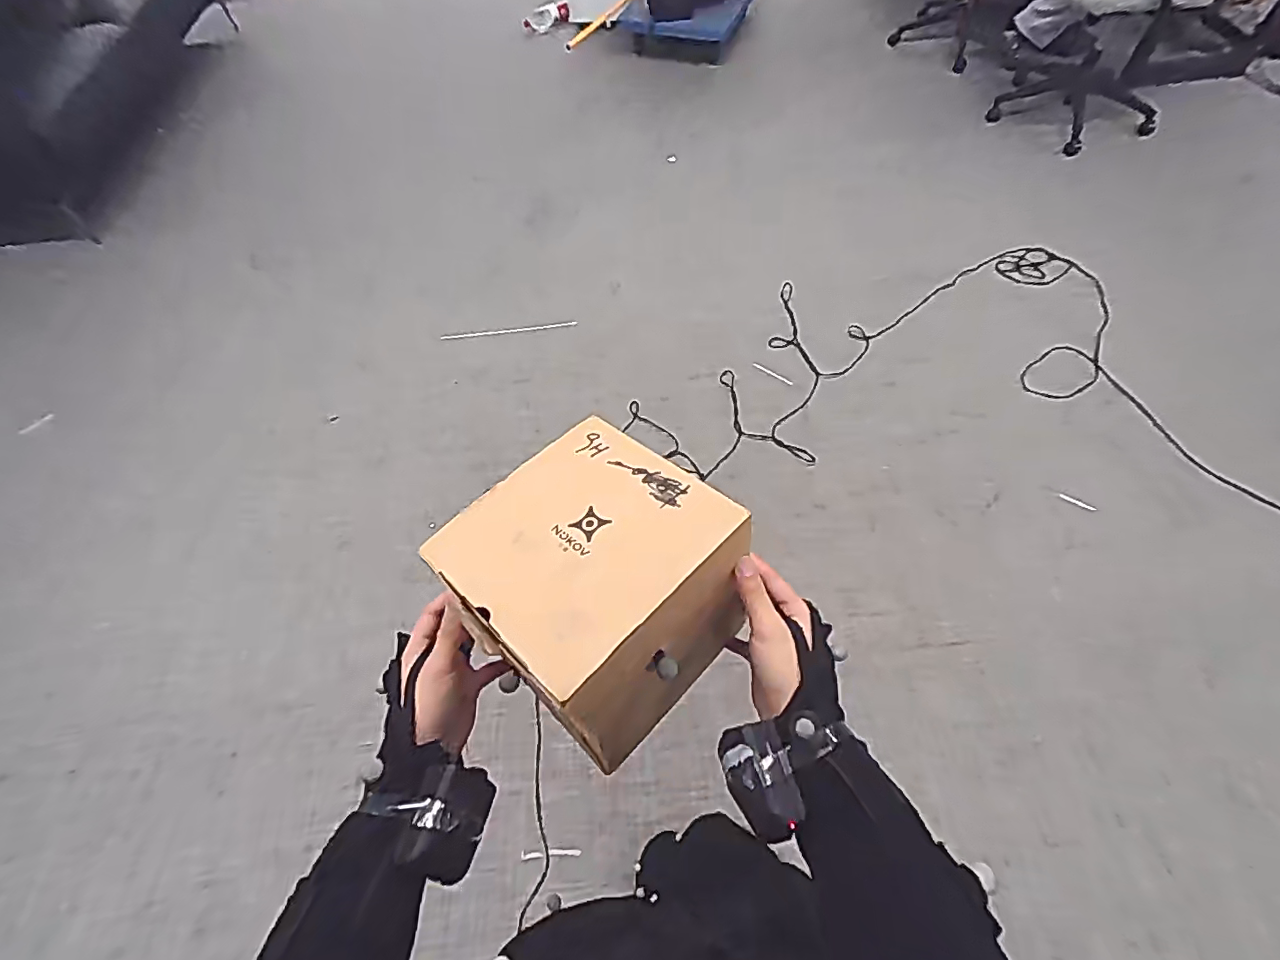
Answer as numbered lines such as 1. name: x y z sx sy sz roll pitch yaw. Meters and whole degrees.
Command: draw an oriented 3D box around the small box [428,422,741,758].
1. small box: -0.031 0.091 0.446 0.168 0.176 0.179 34 62 32
